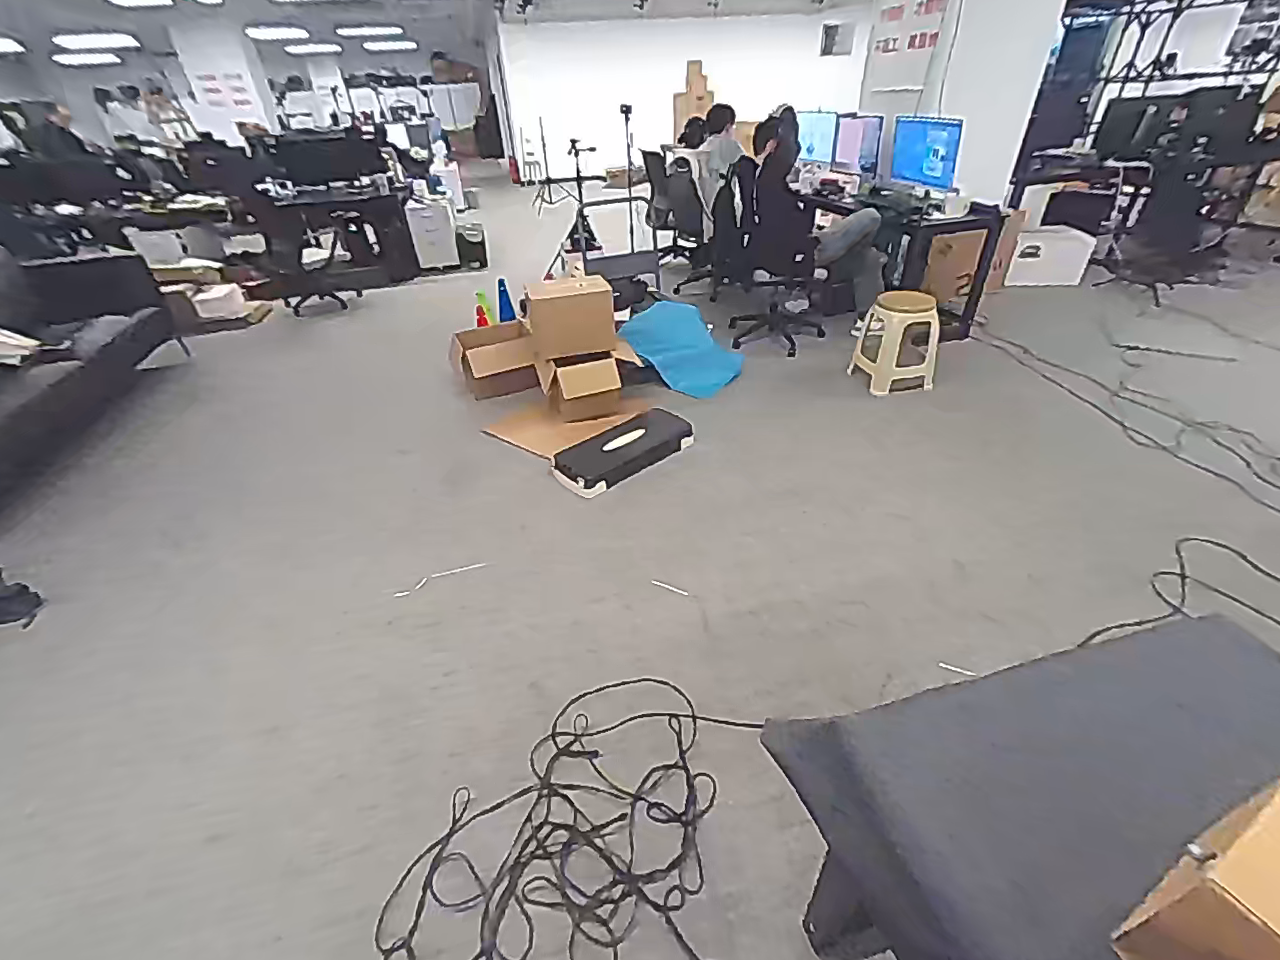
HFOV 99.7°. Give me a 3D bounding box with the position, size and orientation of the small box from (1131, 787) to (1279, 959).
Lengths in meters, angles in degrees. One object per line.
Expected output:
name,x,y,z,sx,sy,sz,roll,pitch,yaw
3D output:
small box,0.552,0.376,0.429,0.179,0.176,0.168,-21,39,-22
